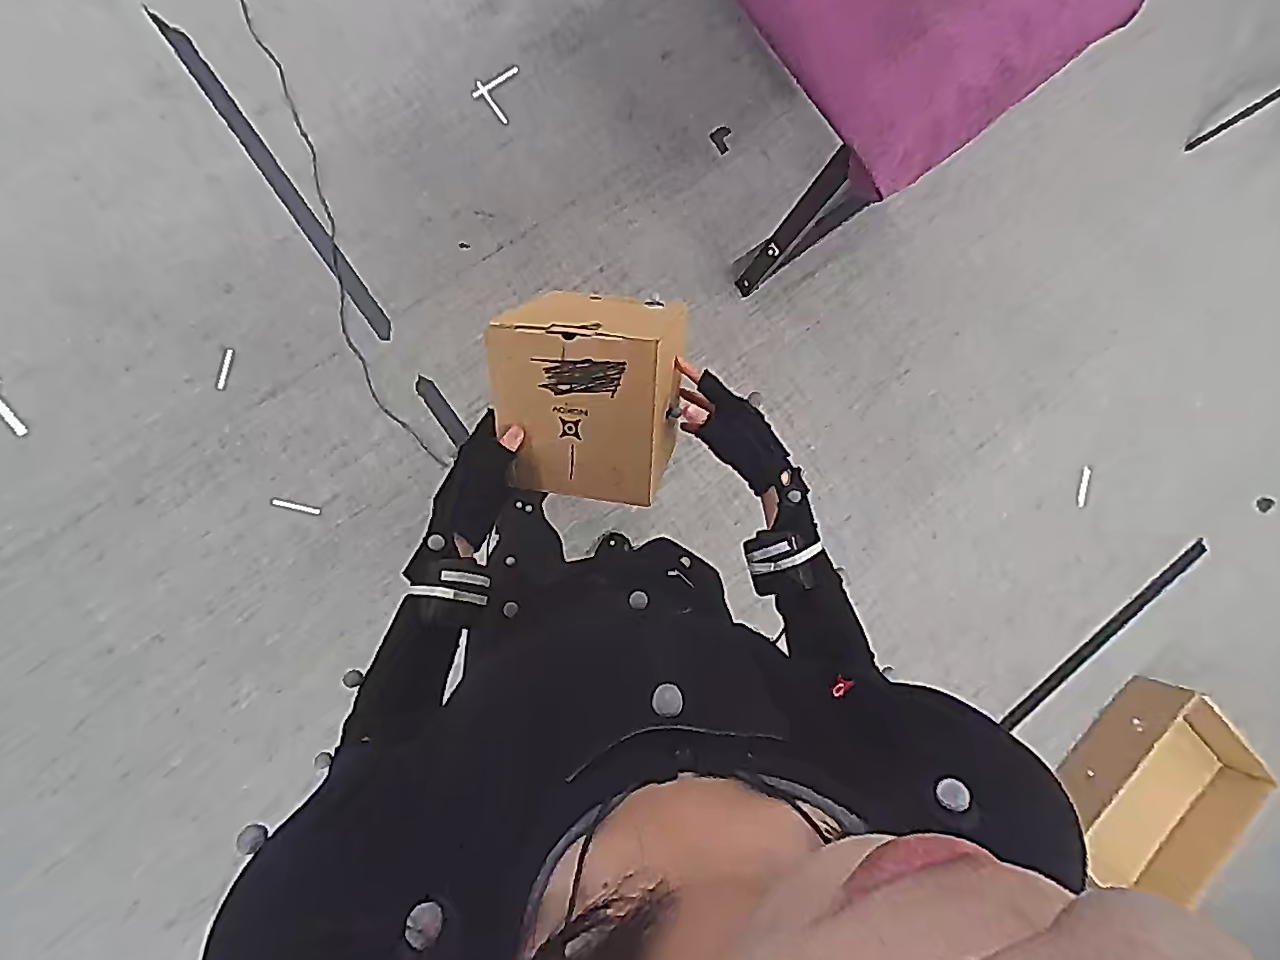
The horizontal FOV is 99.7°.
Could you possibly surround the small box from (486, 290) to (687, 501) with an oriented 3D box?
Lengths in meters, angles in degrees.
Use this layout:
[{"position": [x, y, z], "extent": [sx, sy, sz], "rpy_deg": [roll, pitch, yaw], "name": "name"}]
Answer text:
[{"position": [-0.046, -0.102, 0.584], "extent": [0.168, 0.176, 0.179], "rpy_deg": [8, 120, 12], "name": "small box"}]
